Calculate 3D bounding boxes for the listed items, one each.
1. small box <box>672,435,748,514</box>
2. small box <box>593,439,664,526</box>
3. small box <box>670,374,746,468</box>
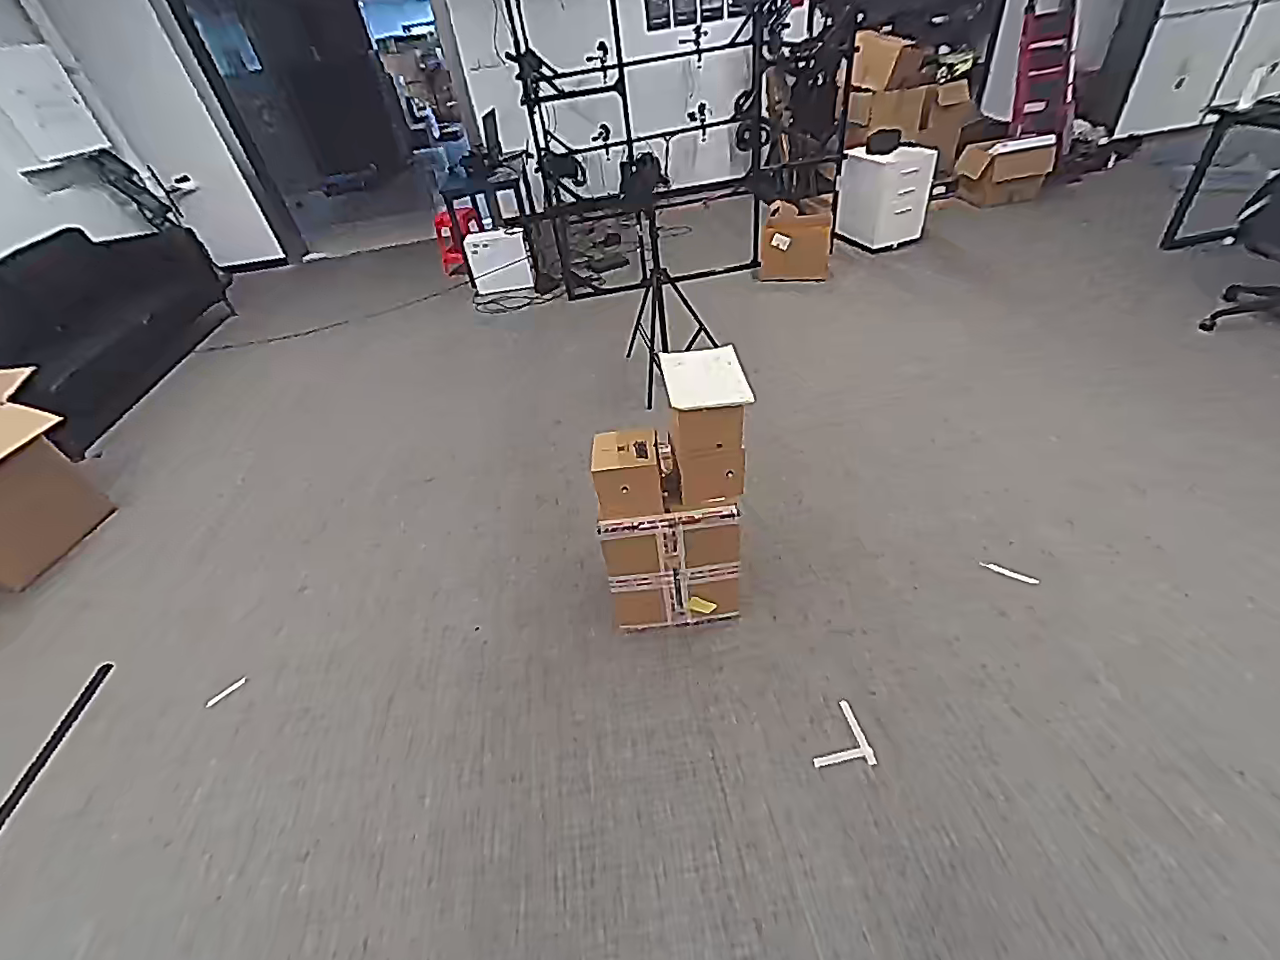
[{"bbox_3d":[0.190,-0.027,1.506,0.179,0.176,0.168,-10,41,-3],"label":"small box"},{"bbox_3d":[-0.024,0.009,1.503,0.179,0.176,0.168,-6,42,5],"label":"small box"},{"bbox_3d":[0.172,-0.153,1.405,0.168,0.176,0.179,-8,41,-2],"label":"small box"}]
